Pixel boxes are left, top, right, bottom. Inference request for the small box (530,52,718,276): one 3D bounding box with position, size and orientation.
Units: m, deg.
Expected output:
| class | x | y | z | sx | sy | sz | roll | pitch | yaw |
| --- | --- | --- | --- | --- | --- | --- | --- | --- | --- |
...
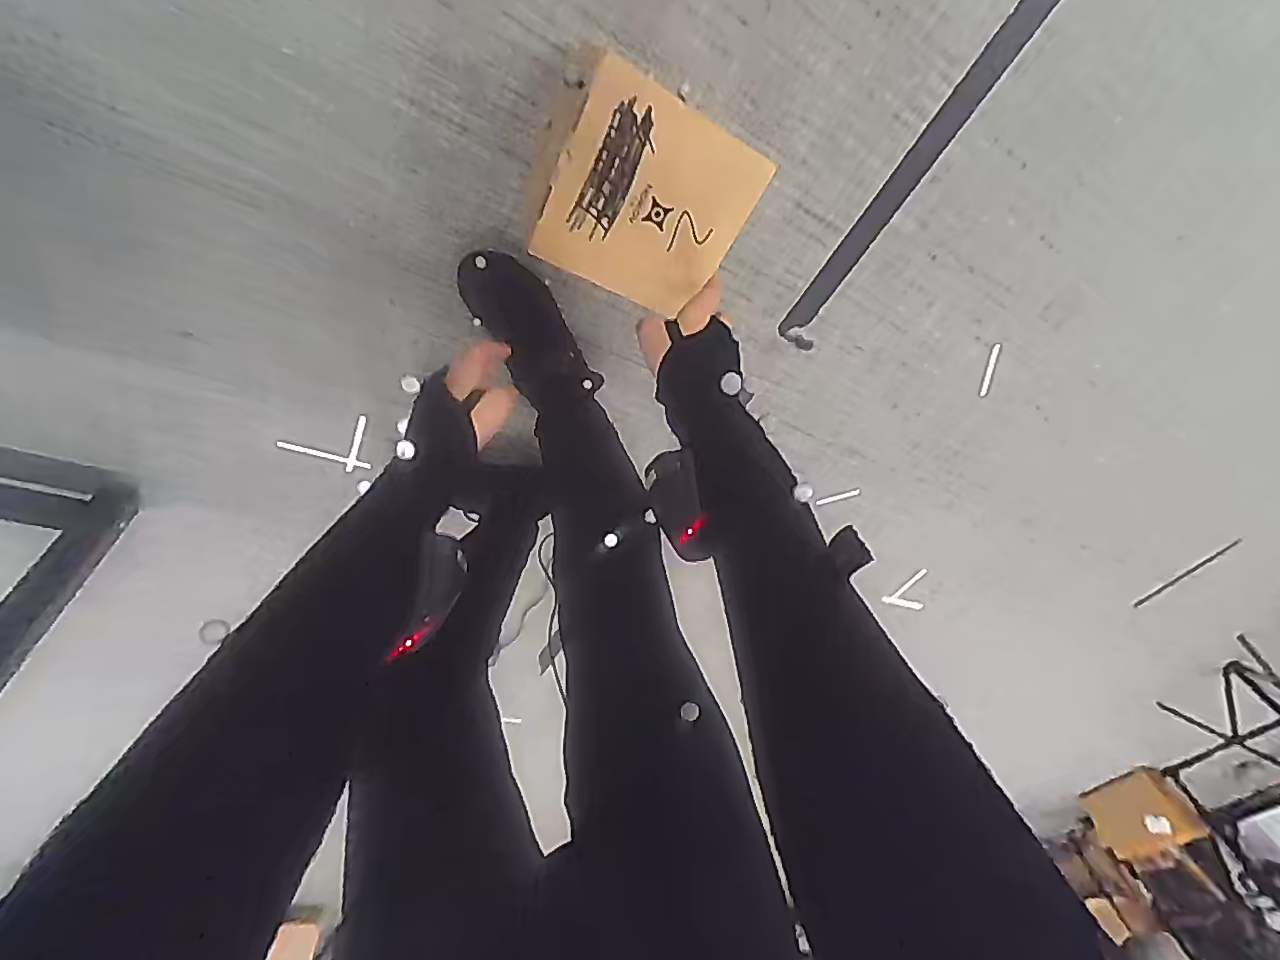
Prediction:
| class | x | y | z | sx | sy | sz | roll | pitch | yaw |
| --- | --- | --- | --- | --- | --- | --- | --- | --- | --- |
| small box | -0.034 | -0.394 | 0.673 | 0.168 | 0.176 | 0.179 | 16 | 126 | -23 |
